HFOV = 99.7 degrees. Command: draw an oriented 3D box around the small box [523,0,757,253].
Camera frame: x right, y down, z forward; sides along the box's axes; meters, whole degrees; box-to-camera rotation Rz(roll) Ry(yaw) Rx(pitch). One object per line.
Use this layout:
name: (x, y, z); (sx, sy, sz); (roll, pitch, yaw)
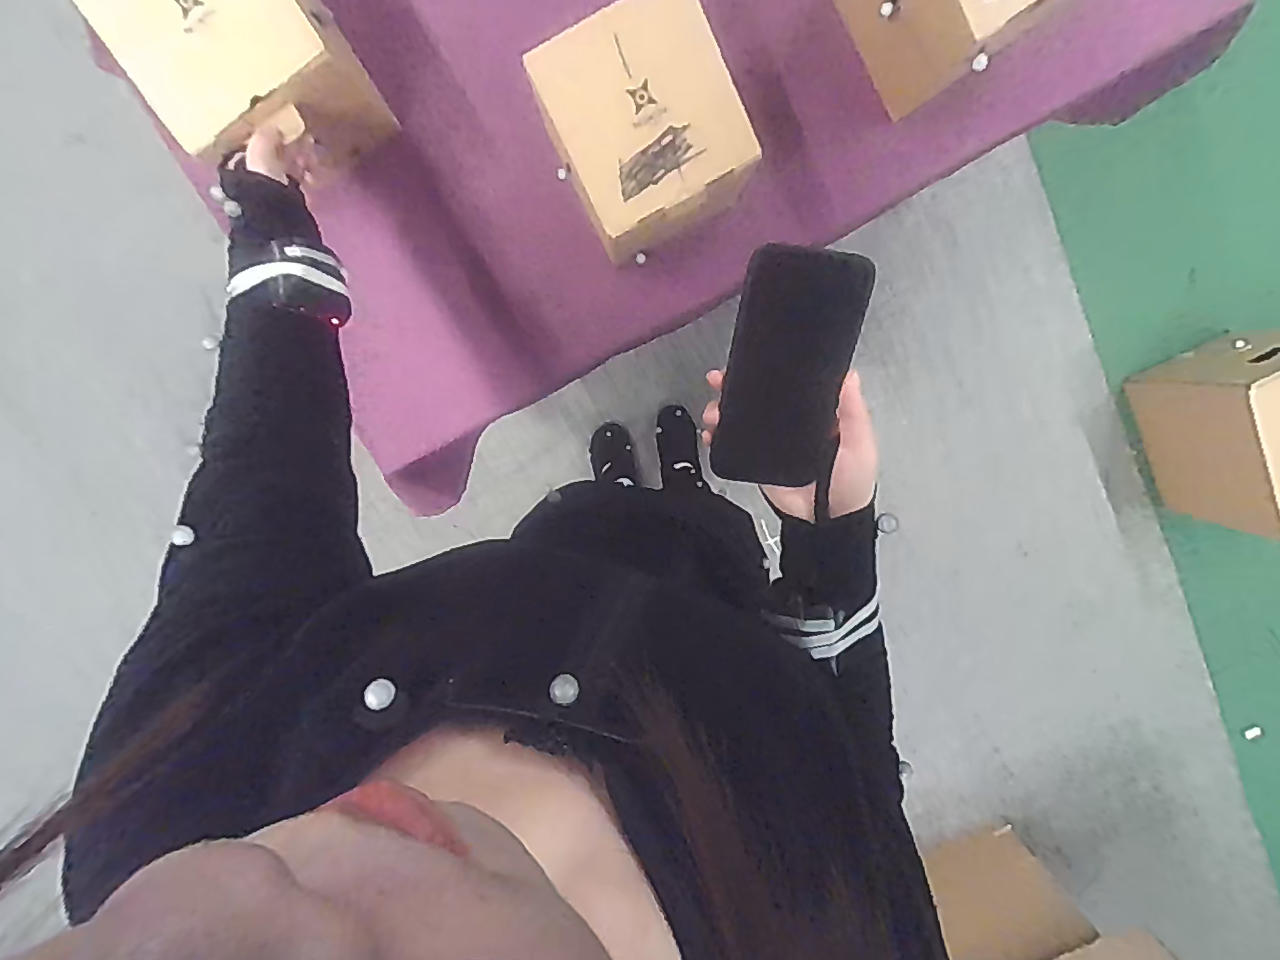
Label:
small box: (0.002, -0.363, 0.577); (0.168, 0.176, 0.179); (-26, 101, 5)

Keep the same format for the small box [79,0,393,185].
small box: (-0.393, -0.433, 0.553); (0.168, 0.176, 0.179); (-31, 102, 5)
